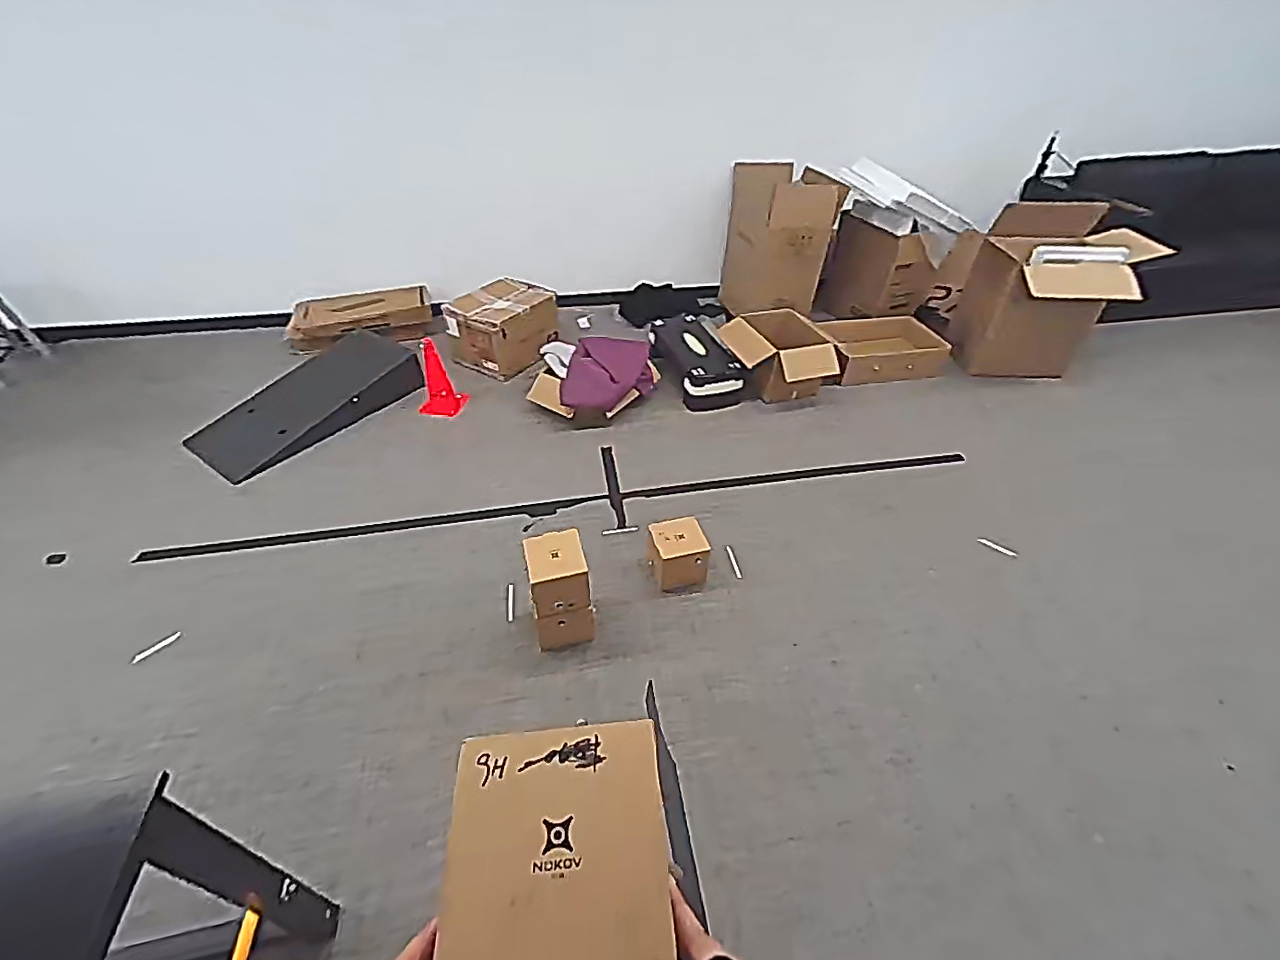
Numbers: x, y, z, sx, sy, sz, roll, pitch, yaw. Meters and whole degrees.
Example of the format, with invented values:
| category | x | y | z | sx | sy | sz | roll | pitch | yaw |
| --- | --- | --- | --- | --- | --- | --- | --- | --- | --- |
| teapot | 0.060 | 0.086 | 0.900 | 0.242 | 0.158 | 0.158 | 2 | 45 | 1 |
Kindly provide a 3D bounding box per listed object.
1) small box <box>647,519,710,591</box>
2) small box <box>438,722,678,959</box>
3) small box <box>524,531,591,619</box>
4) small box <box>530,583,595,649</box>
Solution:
| category | x | y | z | sx | sy | sz | roll | pitch | yaw |
| --- | --- | --- | --- | --- | --- | --- | --- | --- | --- |
| small box | 0.130 | 0.263 | 1.897 | 0.179 | 0.176 | 0.168 | -11 | 42 | -13 |
| small box | -0.057 | 0.330 | 0.464 | 0.168 | 0.176 | 0.179 | -5 | 48 | -2 |
| small box | -0.245 | 0.284 | 1.617 | 0.168 | 0.176 | 0.179 | -12 | 44 | -12 |
| small box | -0.244 | 0.414 | 1.715 | 0.179 | 0.176 | 0.168 | -8 | 42 | -11 |
